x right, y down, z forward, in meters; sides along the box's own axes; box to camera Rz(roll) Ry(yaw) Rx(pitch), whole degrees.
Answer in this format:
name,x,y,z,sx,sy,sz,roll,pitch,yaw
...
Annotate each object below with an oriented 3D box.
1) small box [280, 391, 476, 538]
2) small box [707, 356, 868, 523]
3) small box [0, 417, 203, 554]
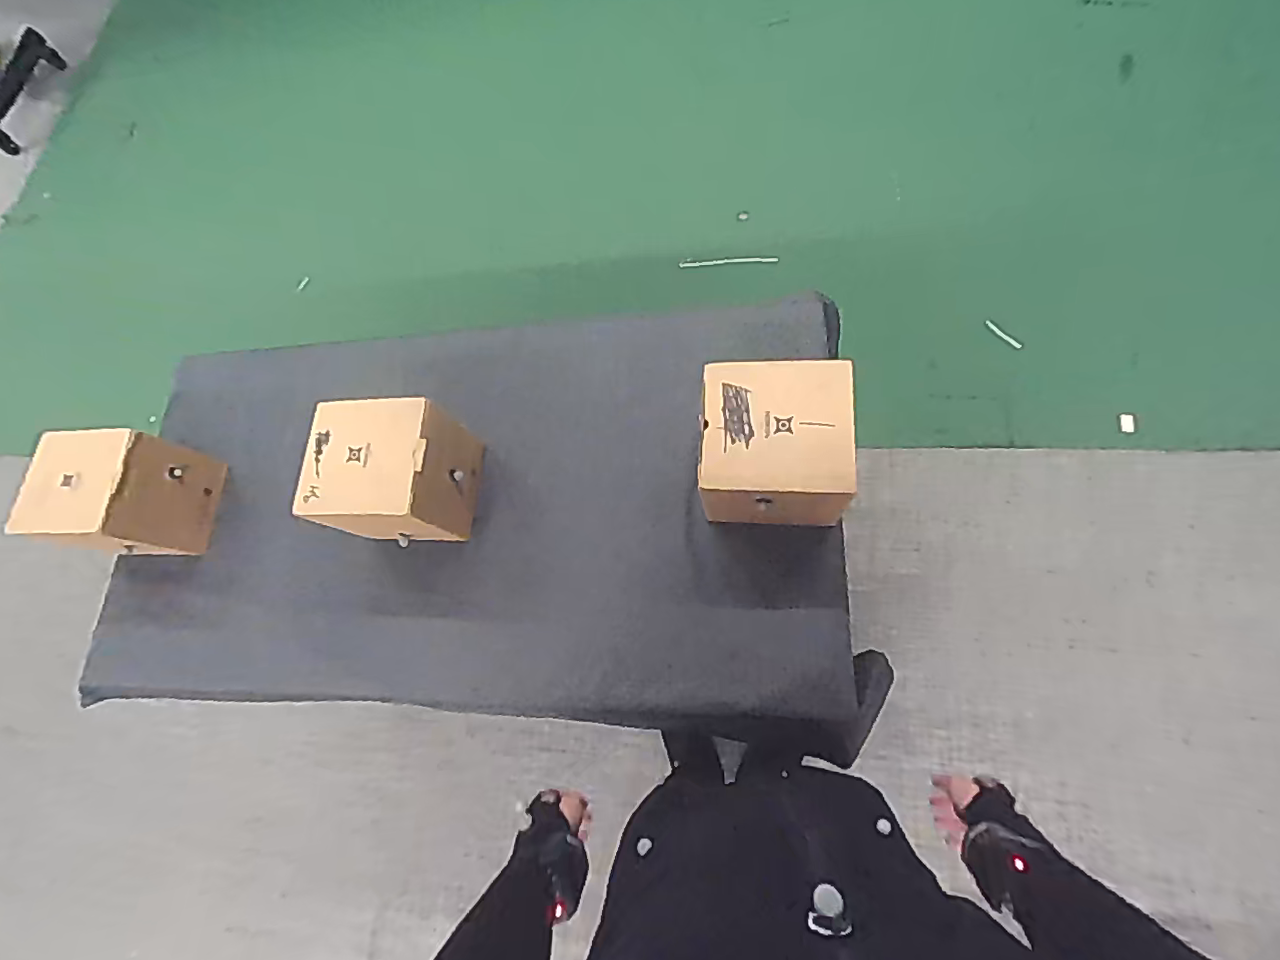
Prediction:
name,x,y,z,sx,sy,sz,roll,pitch,yaw
small box,-0.354,-0.015,0.768,0.179,0.176,0.168,1,71,8
small box,0.180,-0.045,0.697,0.179,0.176,0.168,2,72,9
small box,-0.831,0.015,0.828,0.179,0.176,0.168,-2,70,9
